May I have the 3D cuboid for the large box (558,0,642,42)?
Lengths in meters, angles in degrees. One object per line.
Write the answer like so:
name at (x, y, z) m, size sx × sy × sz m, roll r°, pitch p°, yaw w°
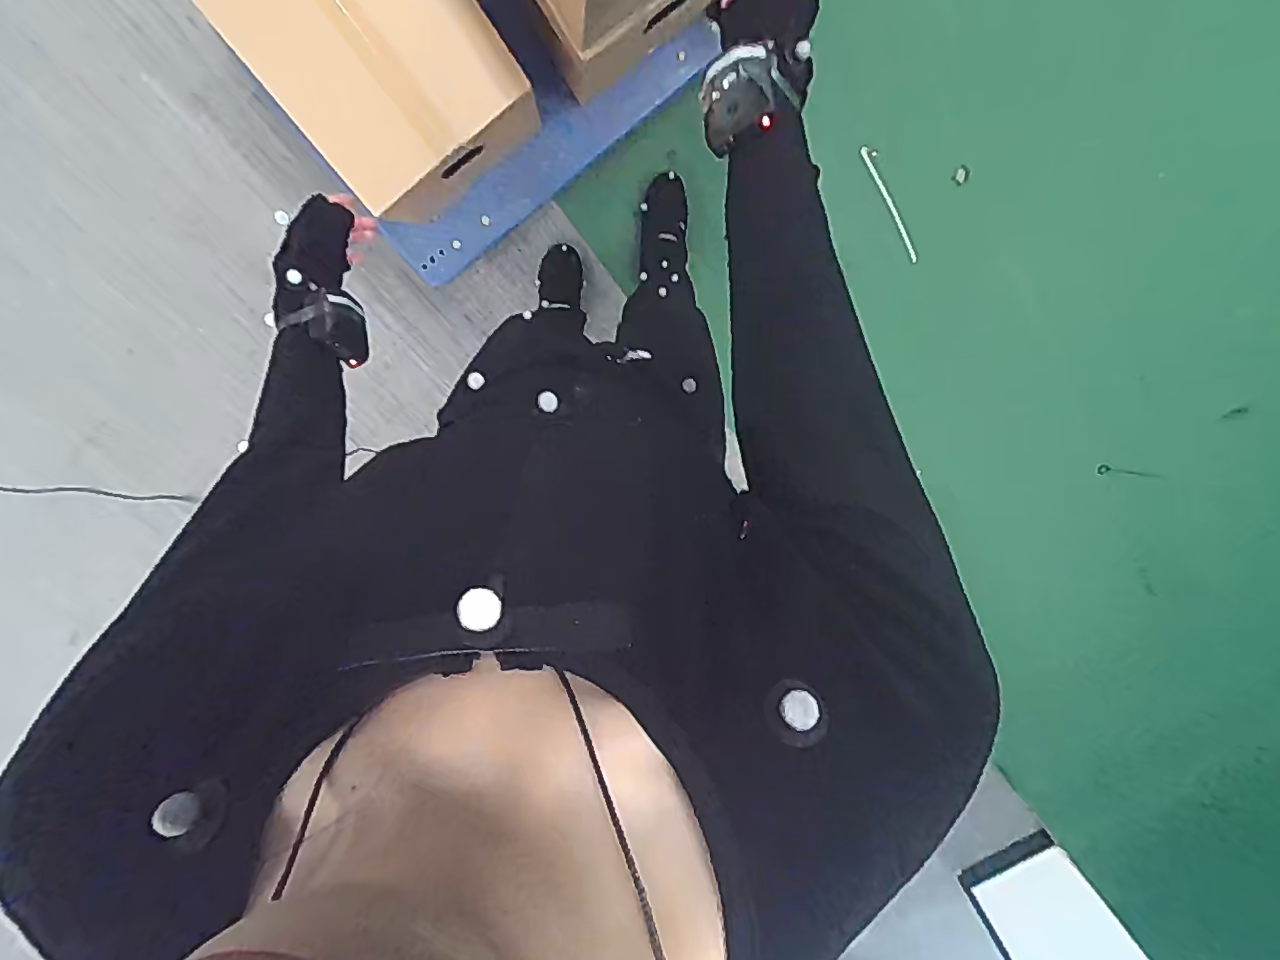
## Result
large box at (-0.047, -0.778, 0.528) m, size 0.320 × 0.320 × 0.408 m, roll -33°, pitch 113°, yaw 7°
